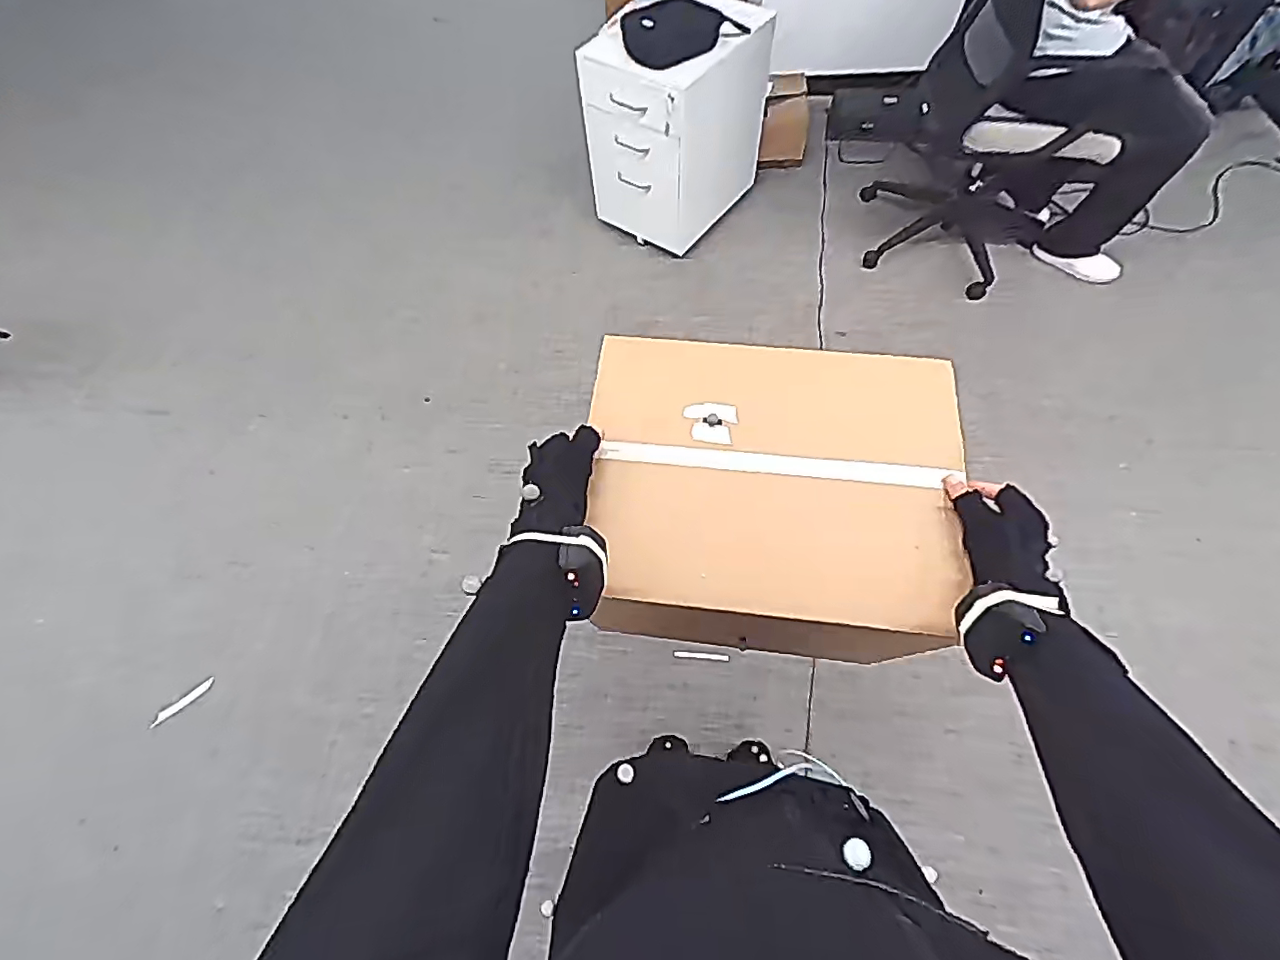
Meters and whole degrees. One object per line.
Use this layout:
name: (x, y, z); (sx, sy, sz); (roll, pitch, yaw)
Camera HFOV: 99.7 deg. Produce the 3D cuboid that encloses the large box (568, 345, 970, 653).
large box: (0.150, 0.044, 0.730); (0.408, 0.320, 0.320); (5, 67, 7)
